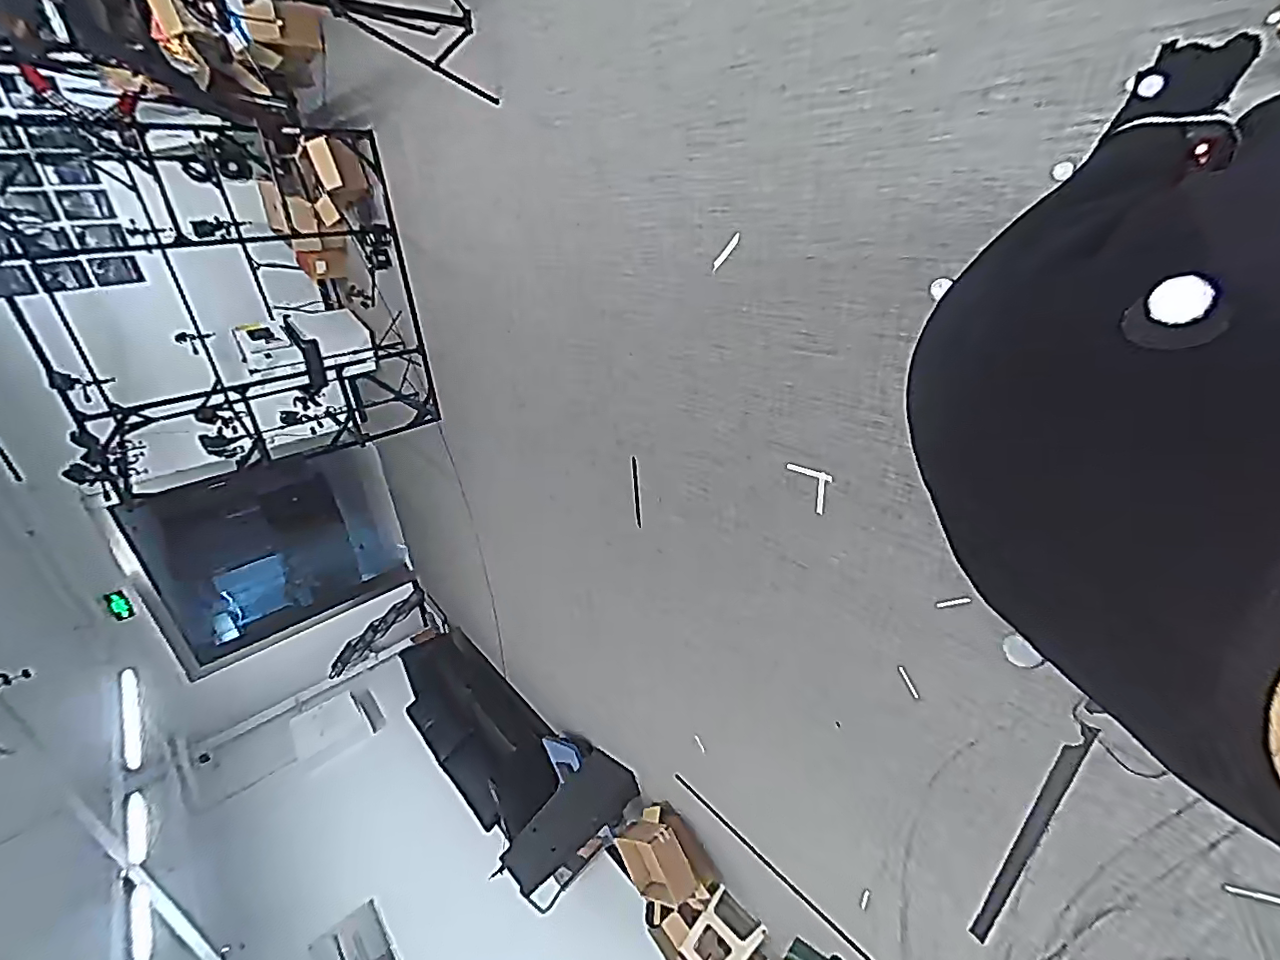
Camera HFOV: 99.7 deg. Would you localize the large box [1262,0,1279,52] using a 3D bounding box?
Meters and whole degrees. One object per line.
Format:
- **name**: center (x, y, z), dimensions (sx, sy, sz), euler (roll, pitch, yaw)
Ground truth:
- **large box**: center (1.055, -0.699, 0.589), dimensions (0.408, 0.320, 0.320), euler (28, 130, 41)
